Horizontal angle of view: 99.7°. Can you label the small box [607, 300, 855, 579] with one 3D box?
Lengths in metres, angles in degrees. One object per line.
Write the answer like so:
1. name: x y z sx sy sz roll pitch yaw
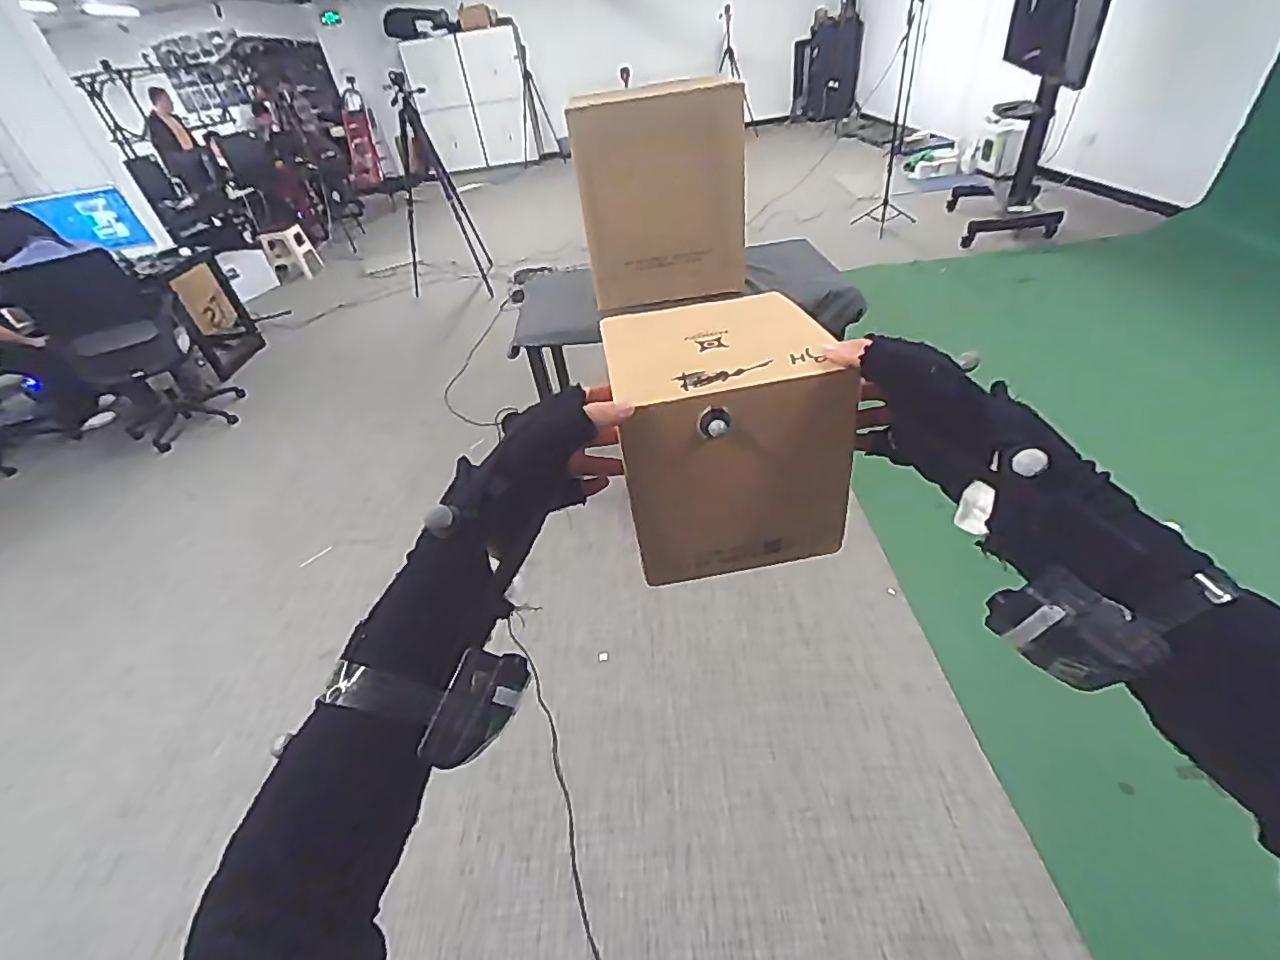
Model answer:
1. small box: 0.067 -0.041 0.475 0.168 0.176 0.179 -10 34 0
